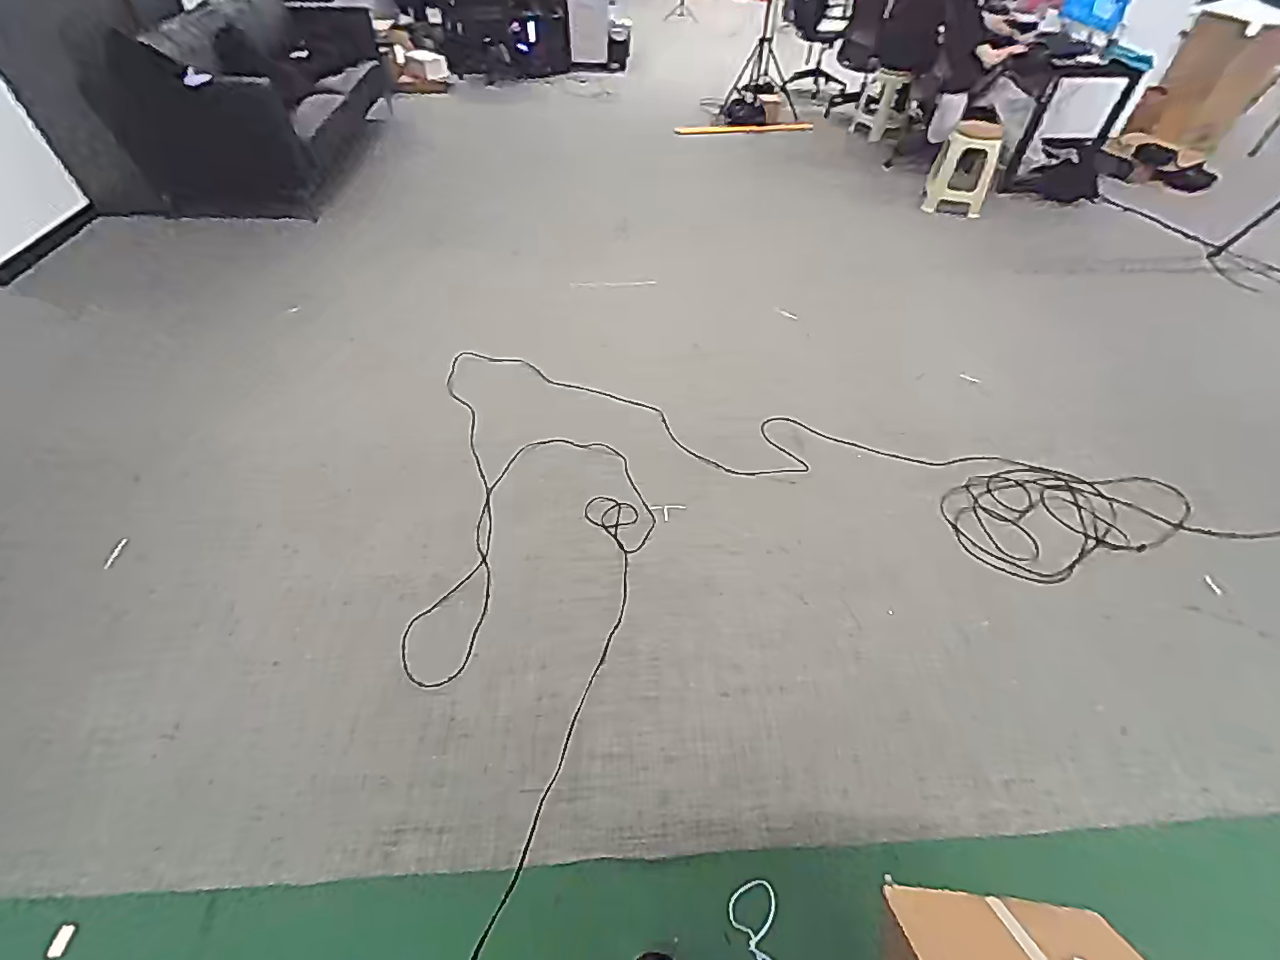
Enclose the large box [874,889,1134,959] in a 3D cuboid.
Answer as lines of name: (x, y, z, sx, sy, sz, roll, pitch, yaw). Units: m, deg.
large box: (0.493, 0.776, 0.615, 0.320, 0.408, 0.320, 5, 88, 4)
